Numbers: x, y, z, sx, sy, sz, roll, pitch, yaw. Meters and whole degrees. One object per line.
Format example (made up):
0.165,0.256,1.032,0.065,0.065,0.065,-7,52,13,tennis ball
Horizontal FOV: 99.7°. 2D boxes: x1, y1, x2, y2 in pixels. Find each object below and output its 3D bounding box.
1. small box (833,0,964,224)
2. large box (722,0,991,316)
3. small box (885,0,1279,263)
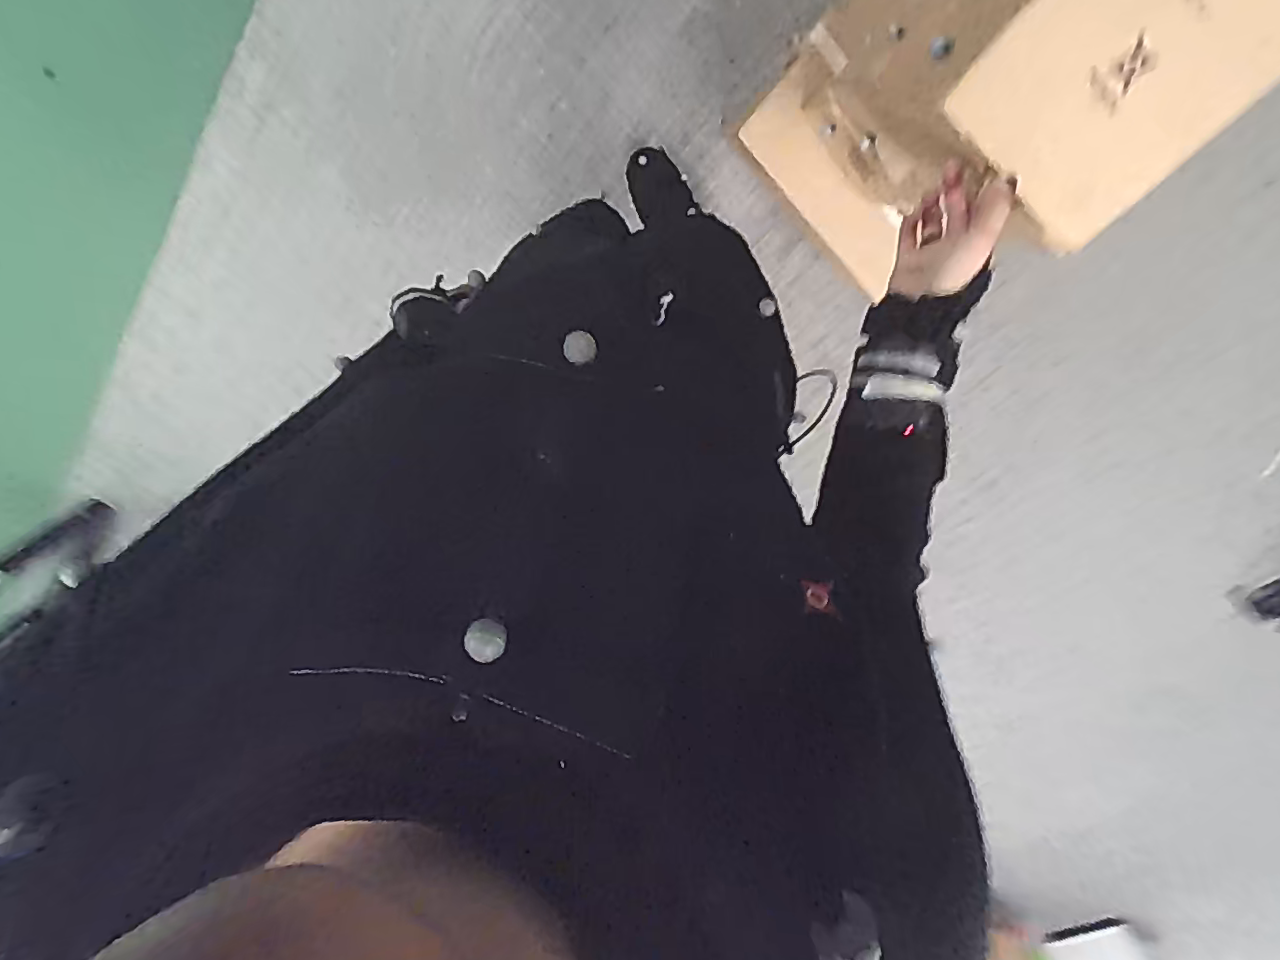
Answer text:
0.333,-0.405,0.562,0.179,0.176,0.168,-36,114,23,small box
0.398,-0.568,0.935,0.408,0.320,0.320,39,117,-20,large box
0.325,-0.311,0.429,0.168,0.176,0.179,34,118,-18,small box
